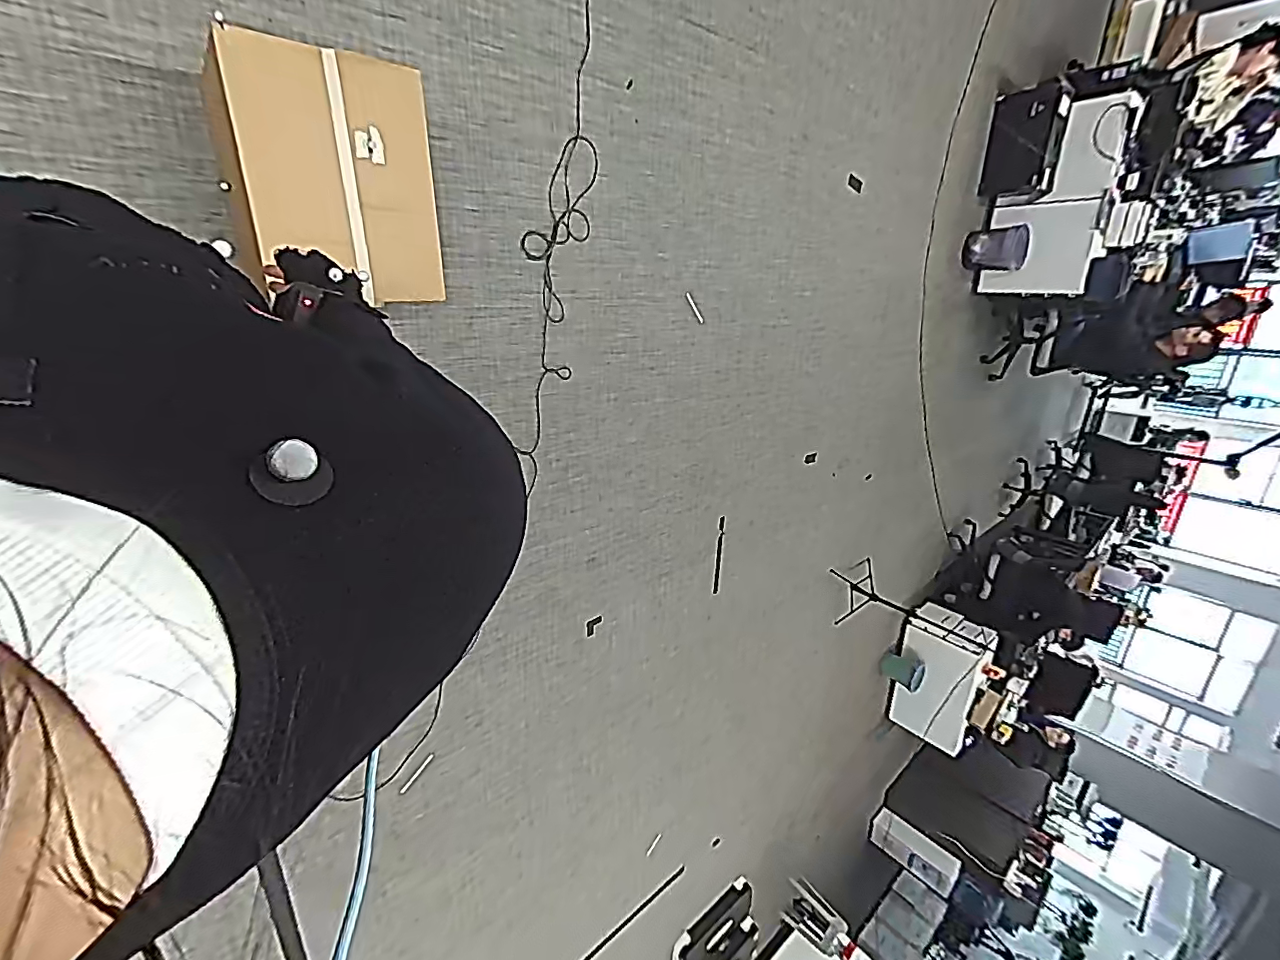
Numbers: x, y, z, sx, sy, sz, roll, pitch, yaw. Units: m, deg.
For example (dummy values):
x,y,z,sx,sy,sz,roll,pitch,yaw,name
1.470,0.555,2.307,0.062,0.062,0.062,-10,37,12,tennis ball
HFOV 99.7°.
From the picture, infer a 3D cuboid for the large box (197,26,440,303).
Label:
x,y,z,sx,sy,sz,roll,pitch,yaw,name
-0.635,-0.574,1.083,0.320,0.320,0.408,-17,115,-39,large box
